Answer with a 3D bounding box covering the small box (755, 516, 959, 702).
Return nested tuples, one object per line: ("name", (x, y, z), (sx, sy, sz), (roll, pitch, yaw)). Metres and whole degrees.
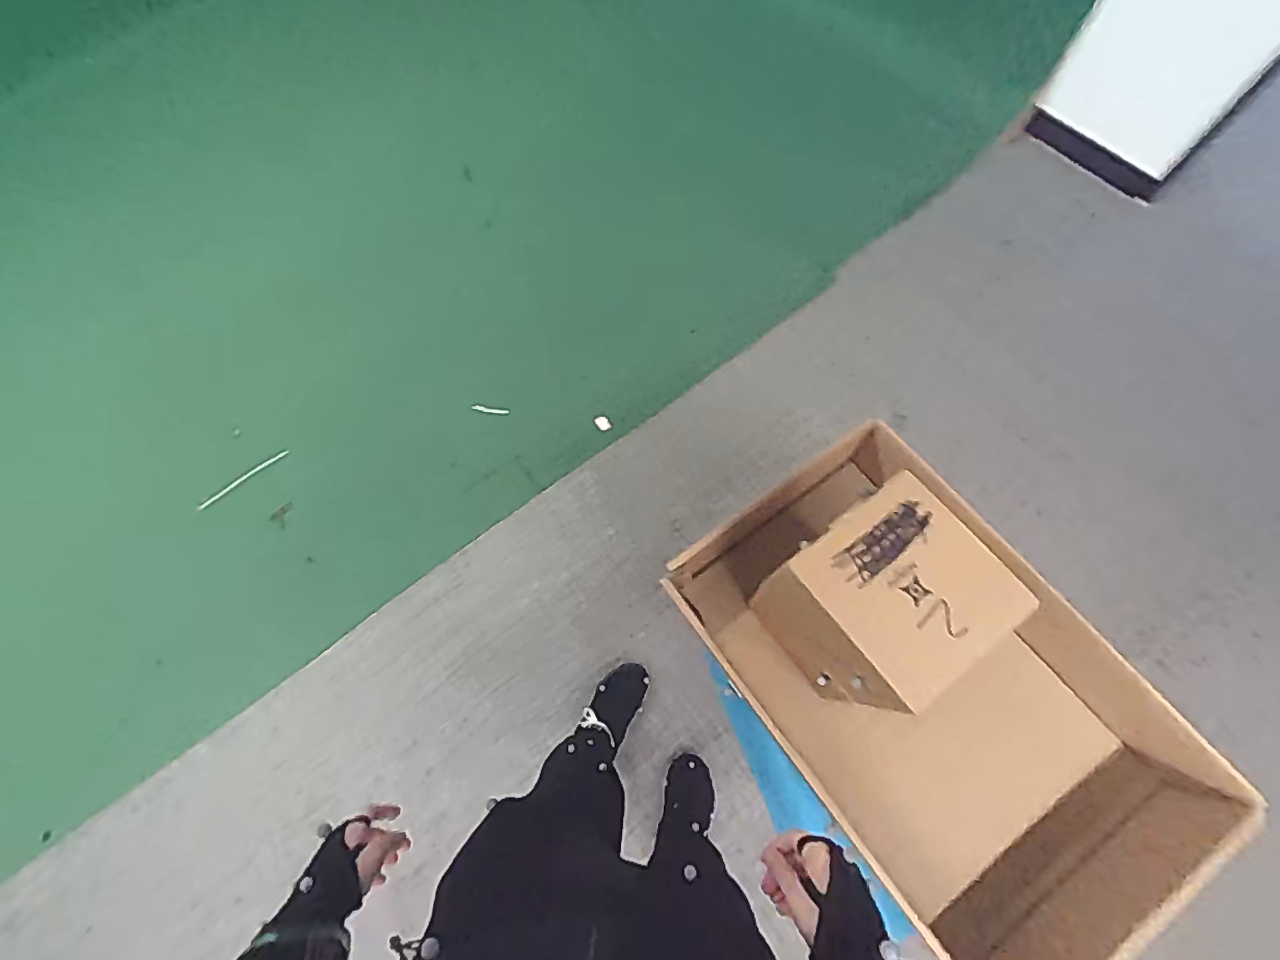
("small box", (0.281, 0.182, 0.748), (0.168, 0.176, 0.179), (-36, 73, -8))
